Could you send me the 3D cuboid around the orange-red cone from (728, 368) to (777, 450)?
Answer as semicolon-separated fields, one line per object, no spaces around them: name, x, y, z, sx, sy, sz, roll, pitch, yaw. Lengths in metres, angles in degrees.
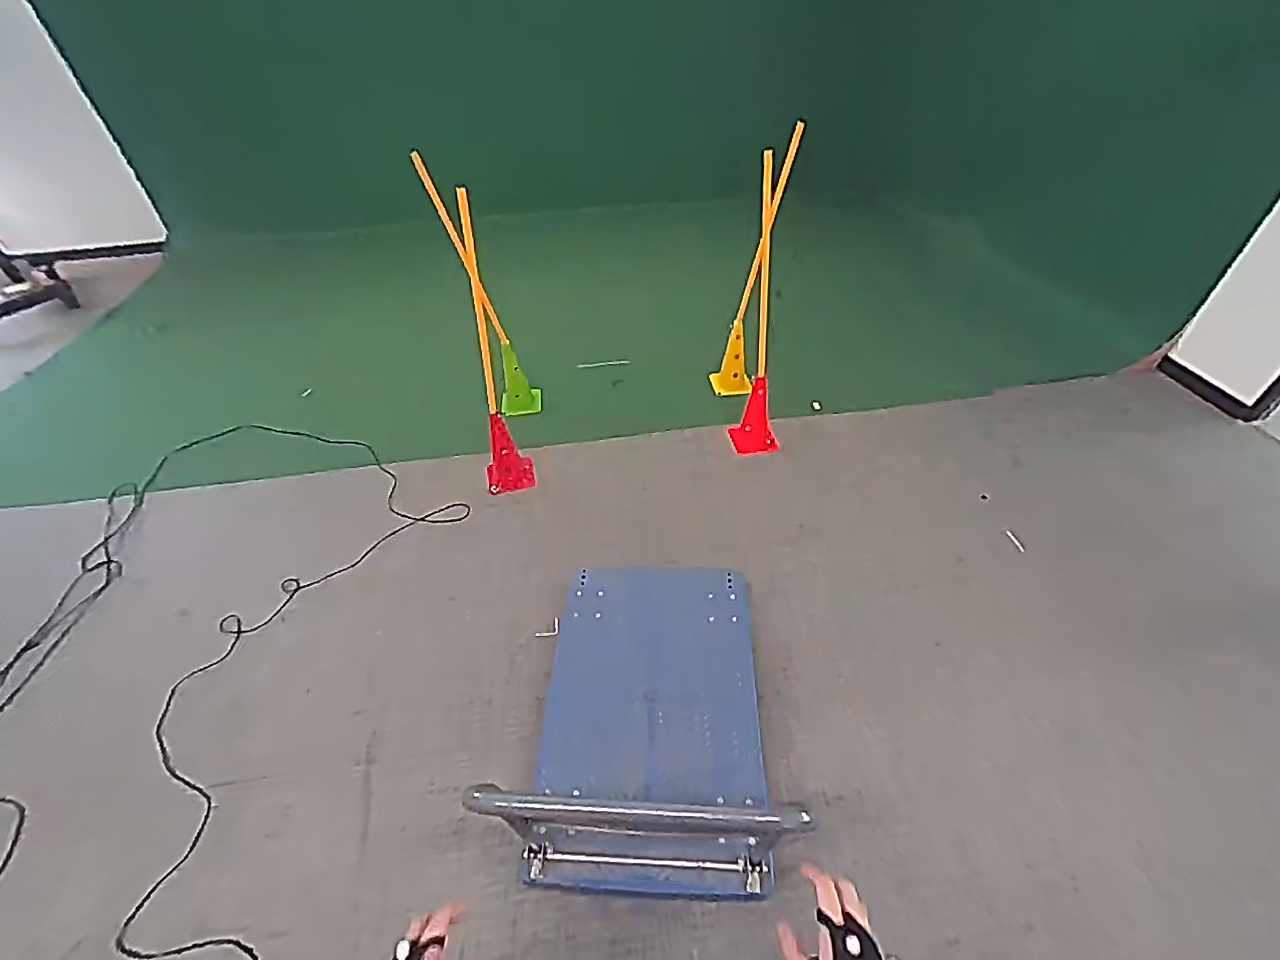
orange-red cone;0.512;-0.331;2.389;0.198;0.360;0.199;-6;43;-4

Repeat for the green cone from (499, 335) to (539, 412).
green cone;-0.628;-0.541;2.657;0.200;0.368;0.202;-7;44;-4
